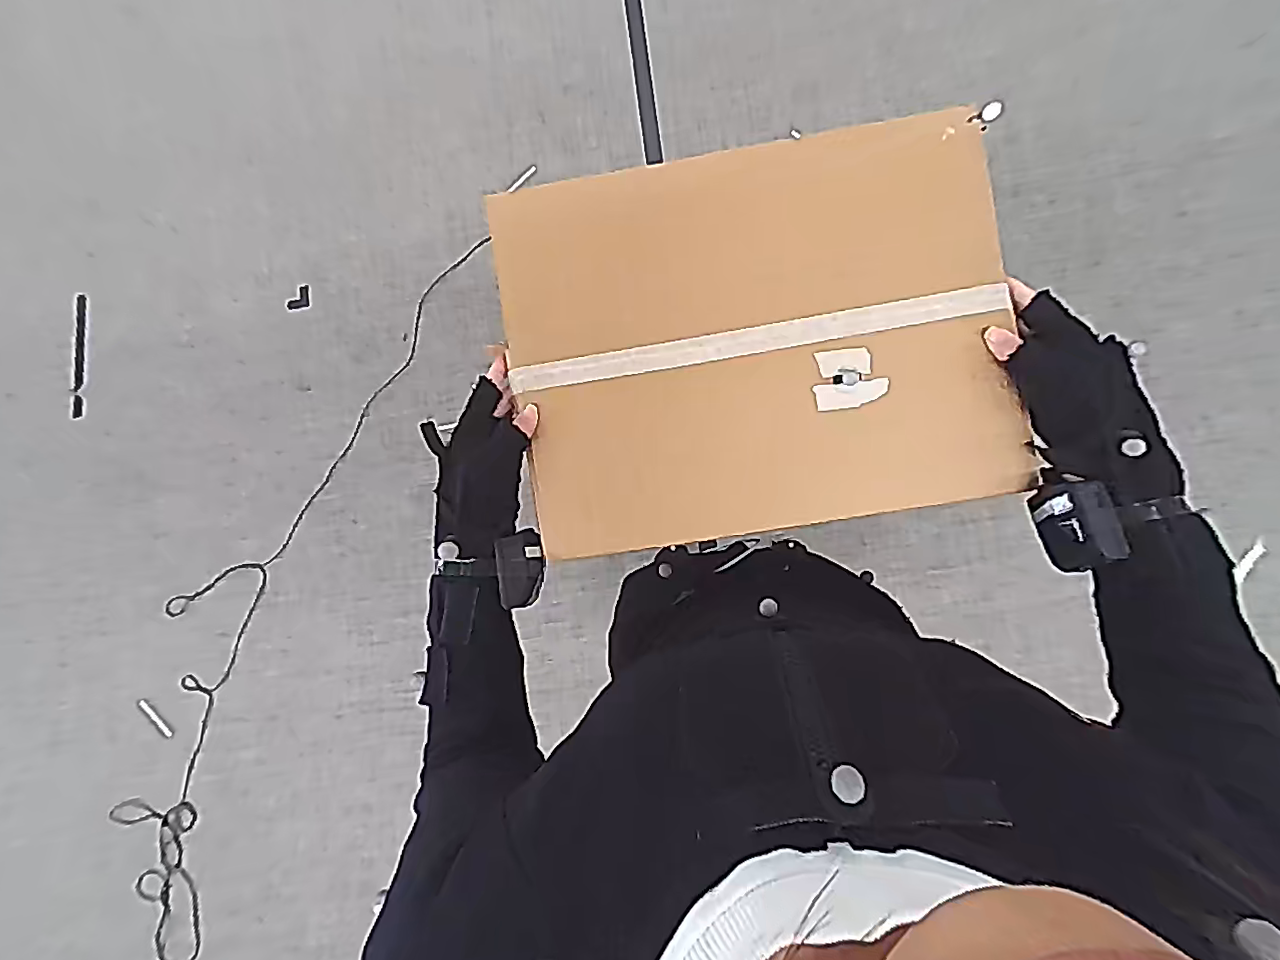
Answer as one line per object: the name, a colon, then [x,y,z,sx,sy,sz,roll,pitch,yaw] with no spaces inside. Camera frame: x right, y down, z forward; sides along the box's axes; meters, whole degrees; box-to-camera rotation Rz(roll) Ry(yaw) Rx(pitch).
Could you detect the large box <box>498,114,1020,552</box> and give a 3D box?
large box: [0.101,-0.121,0.605,0.408,0.320,0.320,-9,91,2]
